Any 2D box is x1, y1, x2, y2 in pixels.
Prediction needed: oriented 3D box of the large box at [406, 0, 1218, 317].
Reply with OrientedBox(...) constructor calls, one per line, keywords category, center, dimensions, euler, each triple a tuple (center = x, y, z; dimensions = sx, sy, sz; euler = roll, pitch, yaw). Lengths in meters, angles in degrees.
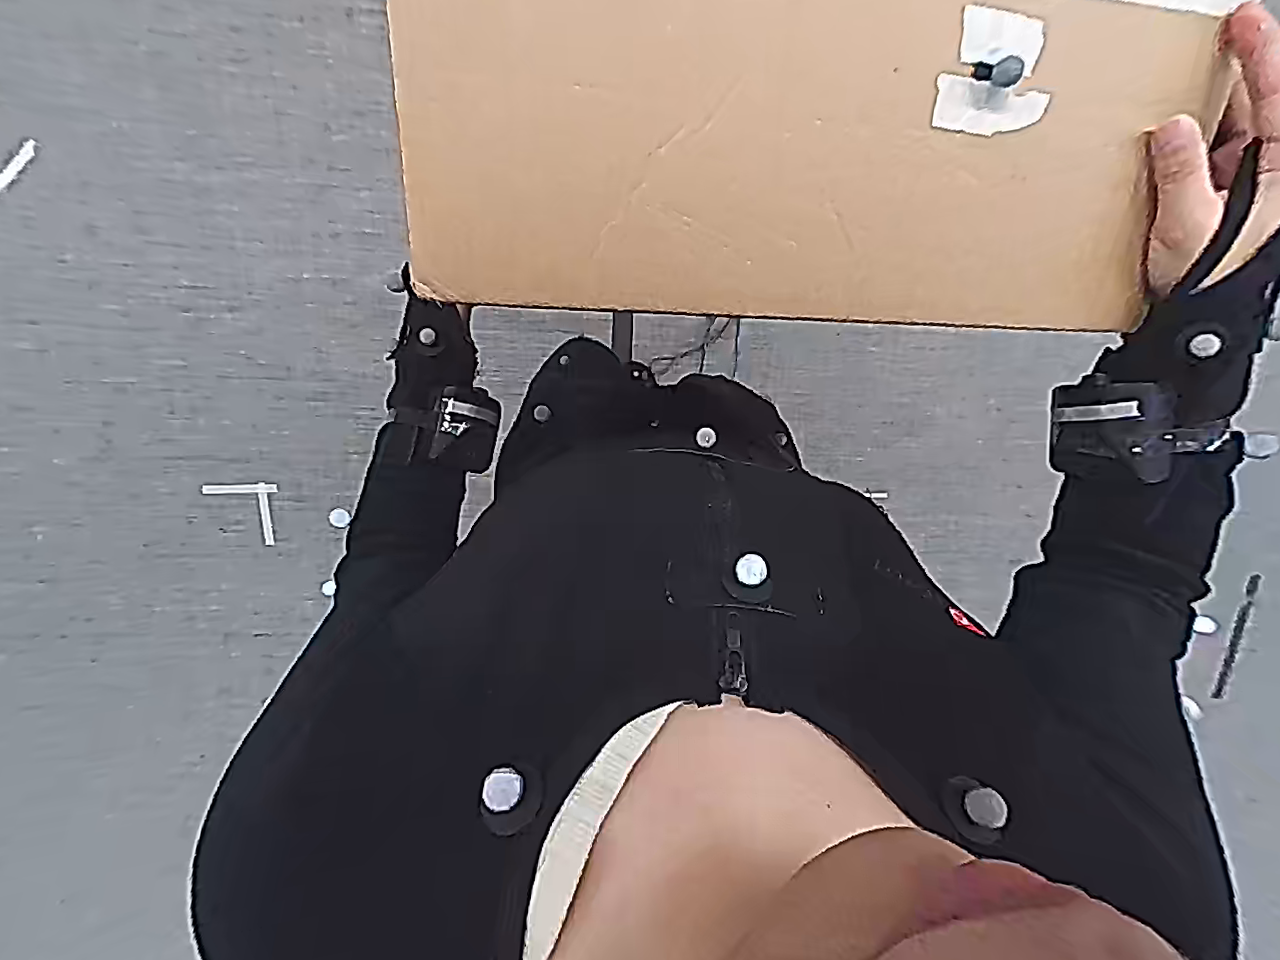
OrientedBox(category="large box", center=(0.071, -0.288, 0.381), dimensions=(0.408, 0.320, 0.320), euler=(-1, 111, -11))
